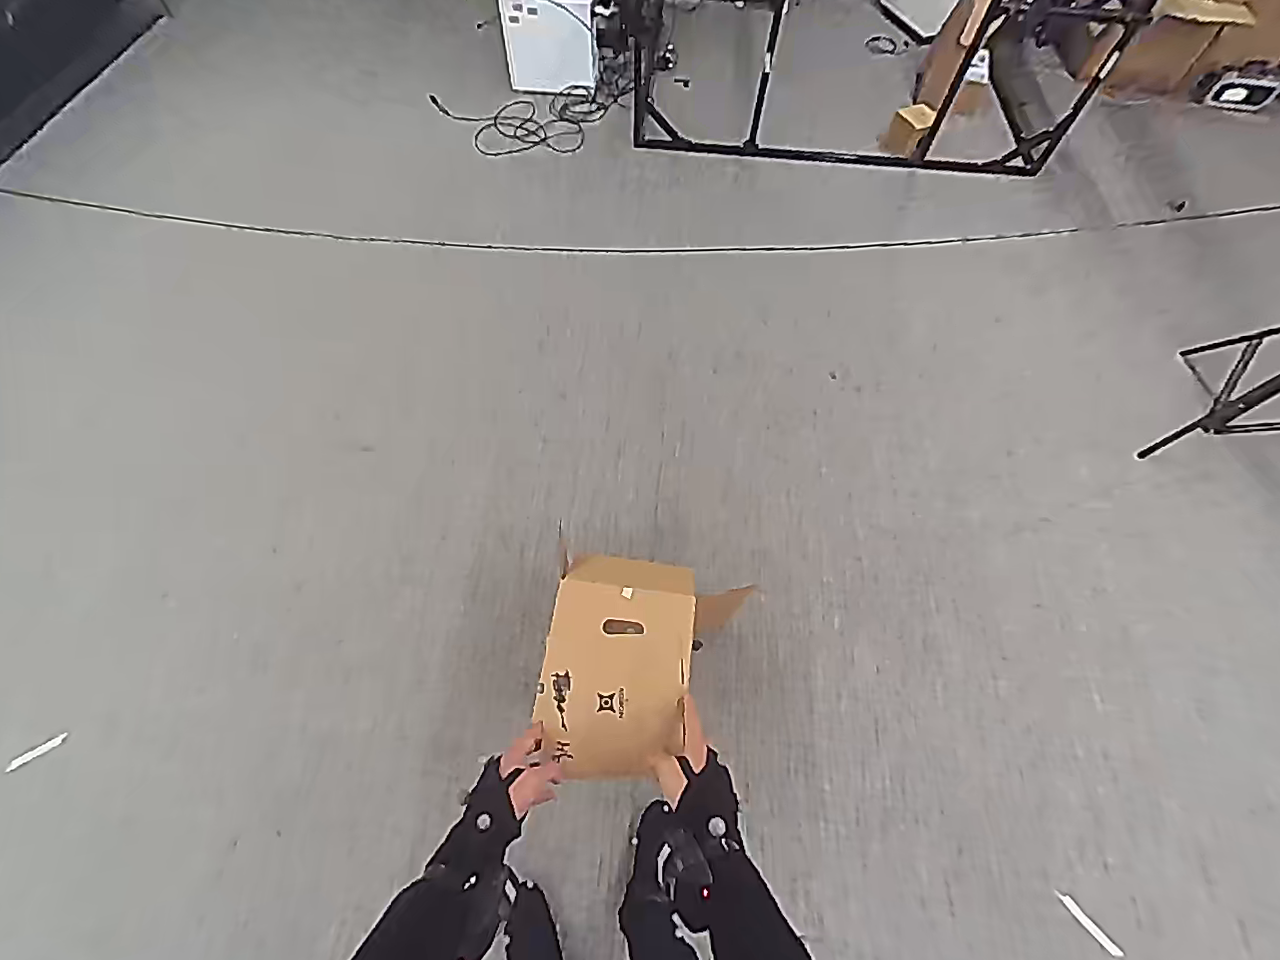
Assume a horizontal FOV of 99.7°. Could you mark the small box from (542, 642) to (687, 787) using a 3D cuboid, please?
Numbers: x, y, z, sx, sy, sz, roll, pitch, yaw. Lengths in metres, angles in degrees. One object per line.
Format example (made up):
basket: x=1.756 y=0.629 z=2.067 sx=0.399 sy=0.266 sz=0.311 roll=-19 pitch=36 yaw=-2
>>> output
small box: x=-0.027 y=0.312 z=0.744 sx=0.179 sy=0.176 sz=0.168 roll=-1 pitch=70 yaw=3
